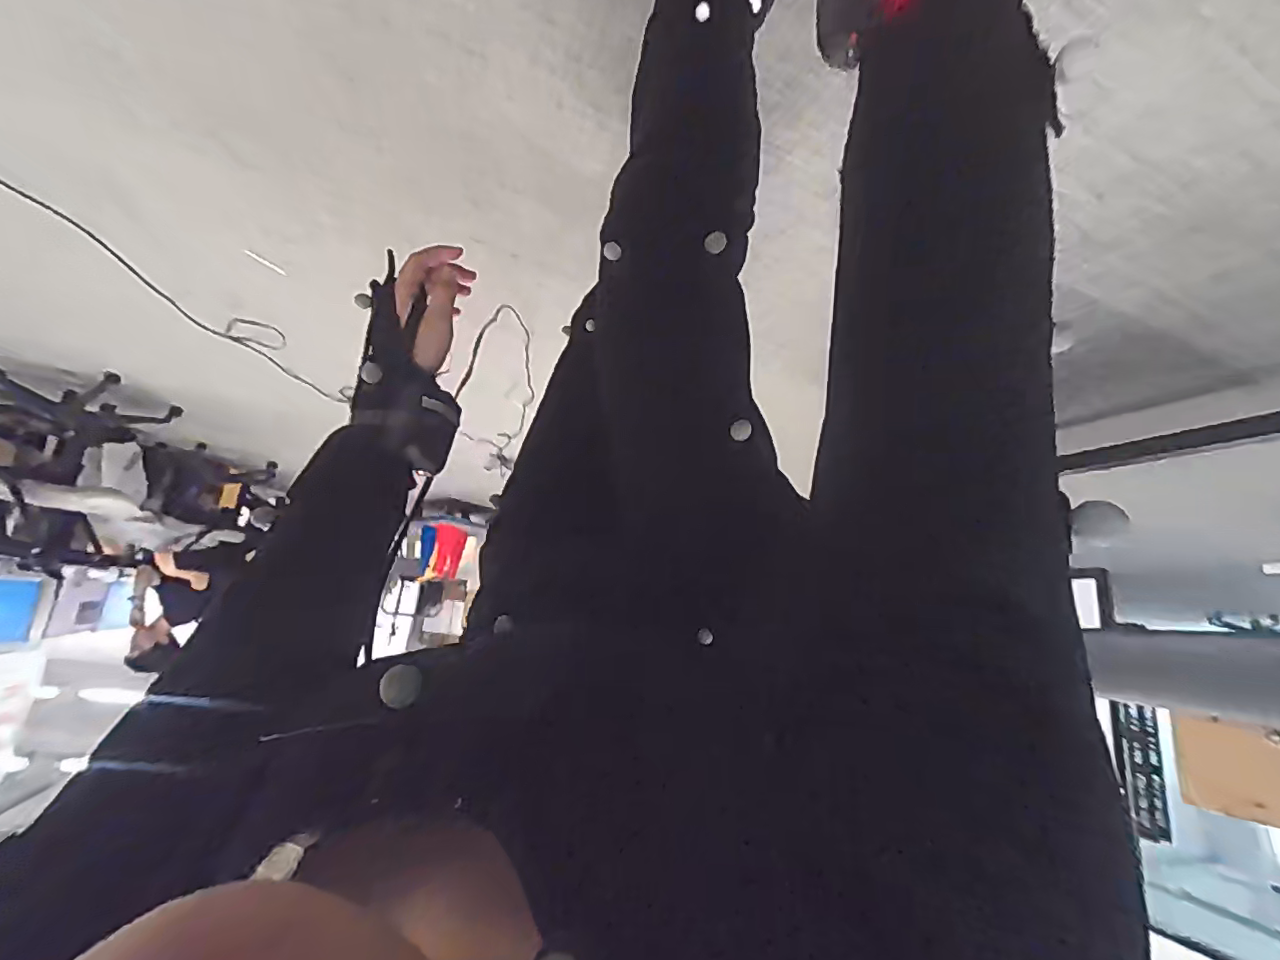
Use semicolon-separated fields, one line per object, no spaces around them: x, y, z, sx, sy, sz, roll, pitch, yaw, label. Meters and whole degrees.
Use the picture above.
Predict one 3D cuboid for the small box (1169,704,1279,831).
1.042;0.479;0.910;0.179;0.176;0.168;12;164;-24;small box
